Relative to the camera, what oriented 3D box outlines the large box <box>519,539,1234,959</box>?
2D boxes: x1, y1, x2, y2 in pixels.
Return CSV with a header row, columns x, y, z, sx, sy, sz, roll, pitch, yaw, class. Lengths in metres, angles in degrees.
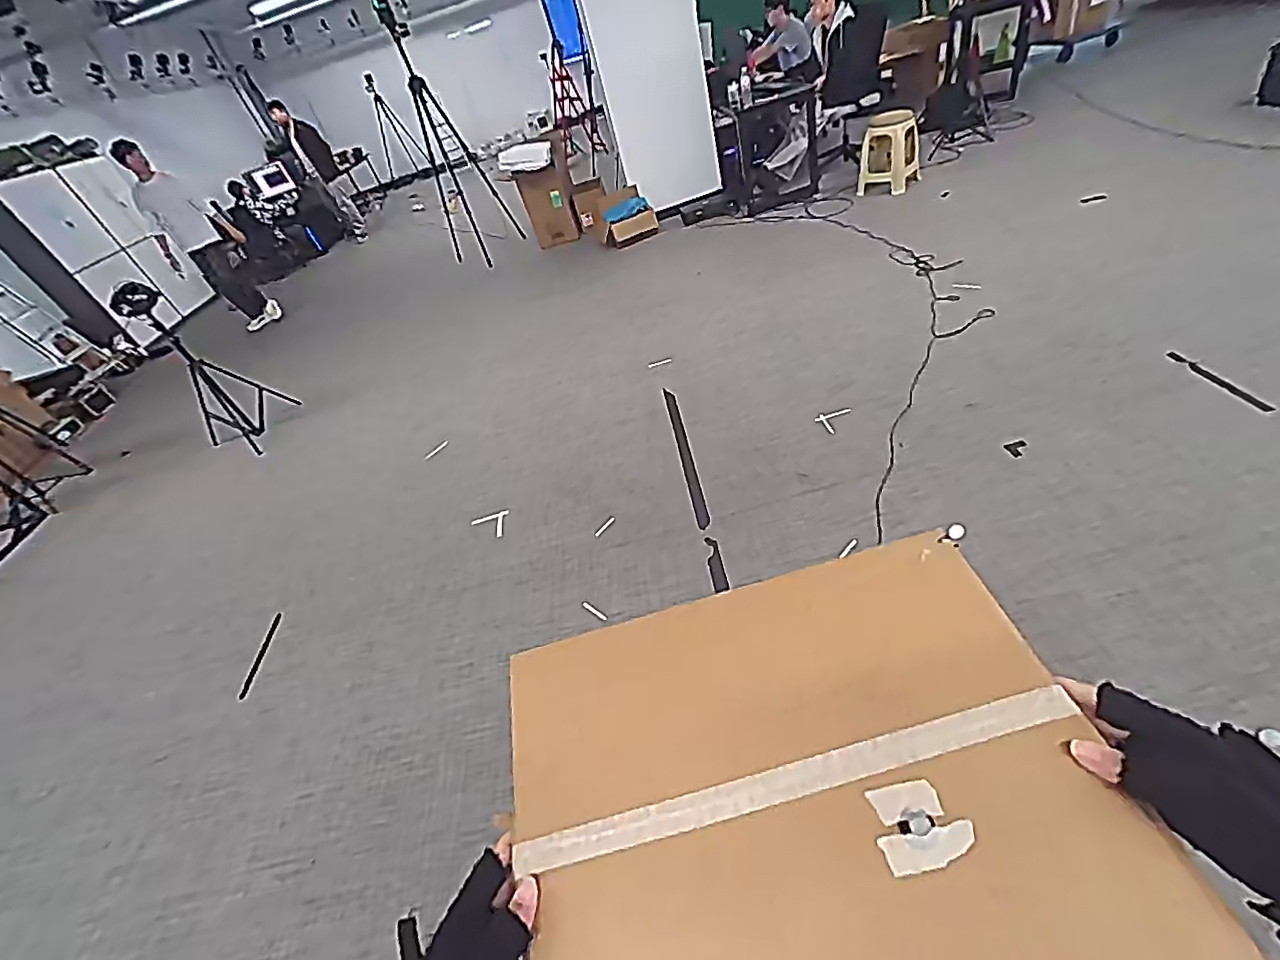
x,y,z,sx,sy,sz,roll,pitch,yaw,class
0.138,0.315,0.506,0.408,0.320,0.320,-17,48,0,large box
